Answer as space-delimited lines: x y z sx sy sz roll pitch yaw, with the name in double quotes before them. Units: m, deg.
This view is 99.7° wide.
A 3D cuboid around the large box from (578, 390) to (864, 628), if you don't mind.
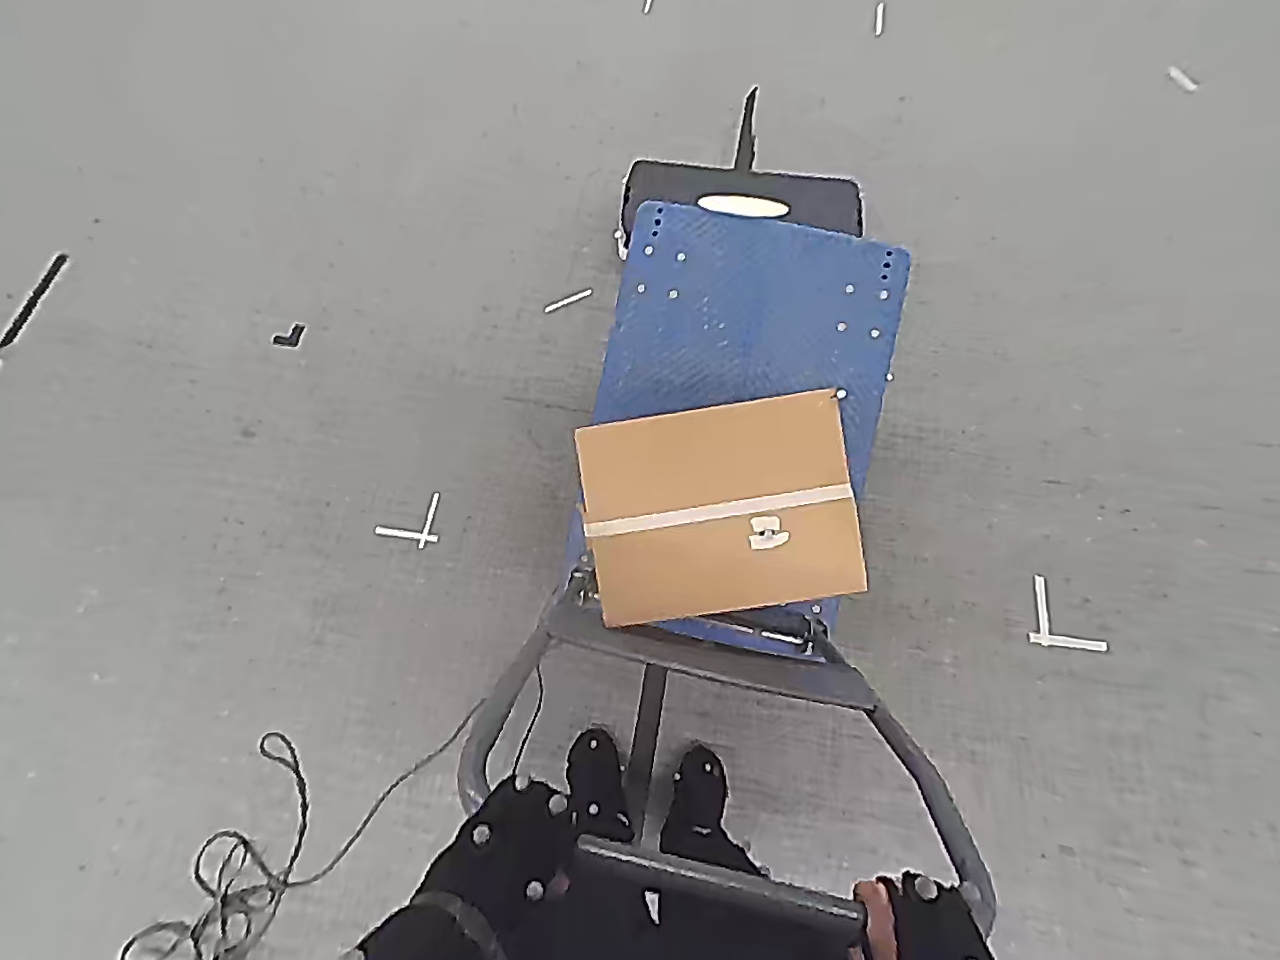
"large box" 0.126 0.048 0.977 0.408 0.320 0.320 -9 90 1
